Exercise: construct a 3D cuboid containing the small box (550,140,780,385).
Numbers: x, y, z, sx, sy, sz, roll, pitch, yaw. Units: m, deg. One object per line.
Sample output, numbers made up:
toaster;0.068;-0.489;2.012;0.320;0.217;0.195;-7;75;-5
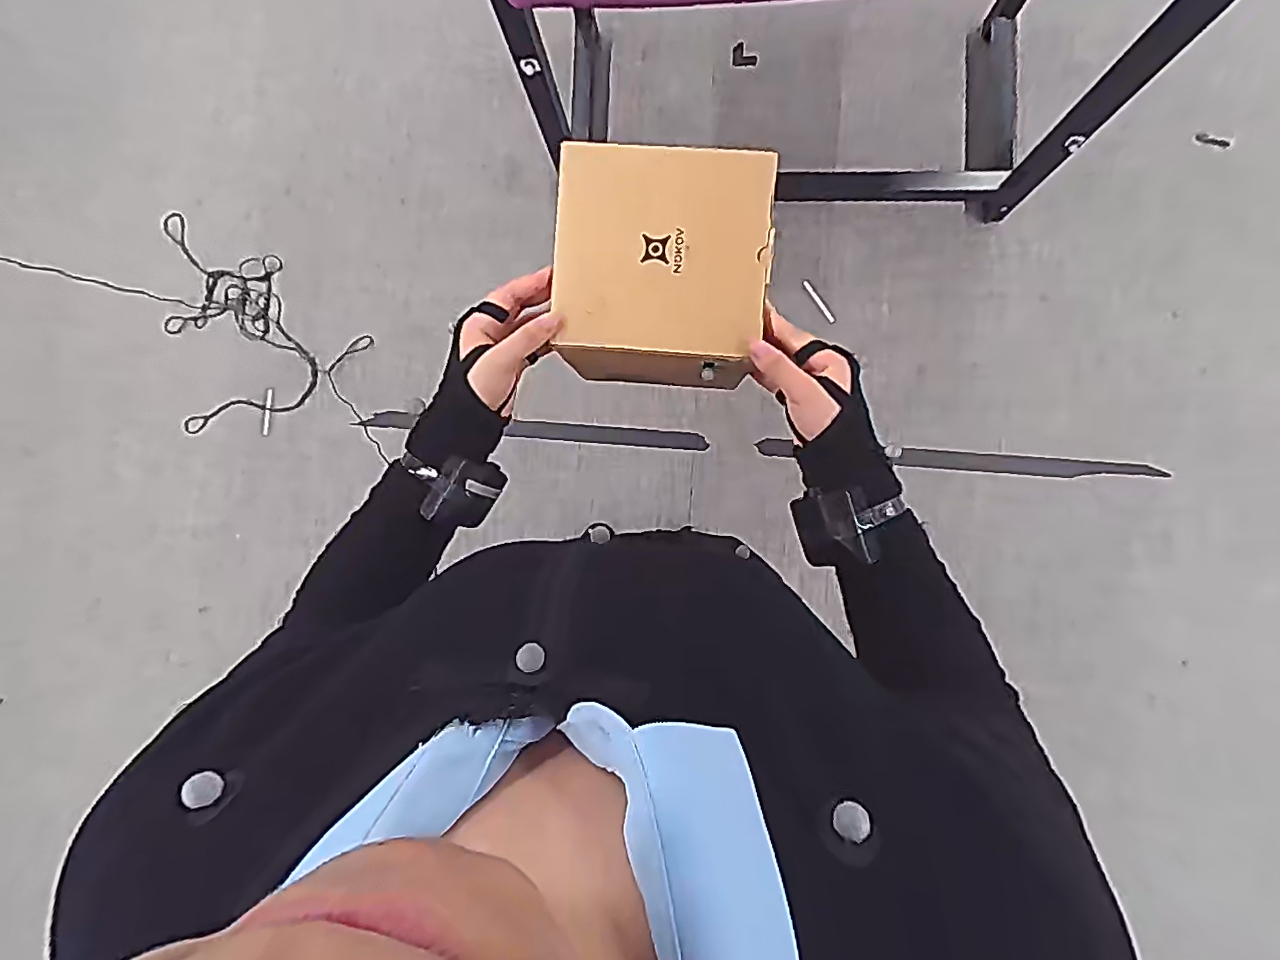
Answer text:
small box;0.023;-0.189;0.515;0.179;0.176;0.168;4;91;2
